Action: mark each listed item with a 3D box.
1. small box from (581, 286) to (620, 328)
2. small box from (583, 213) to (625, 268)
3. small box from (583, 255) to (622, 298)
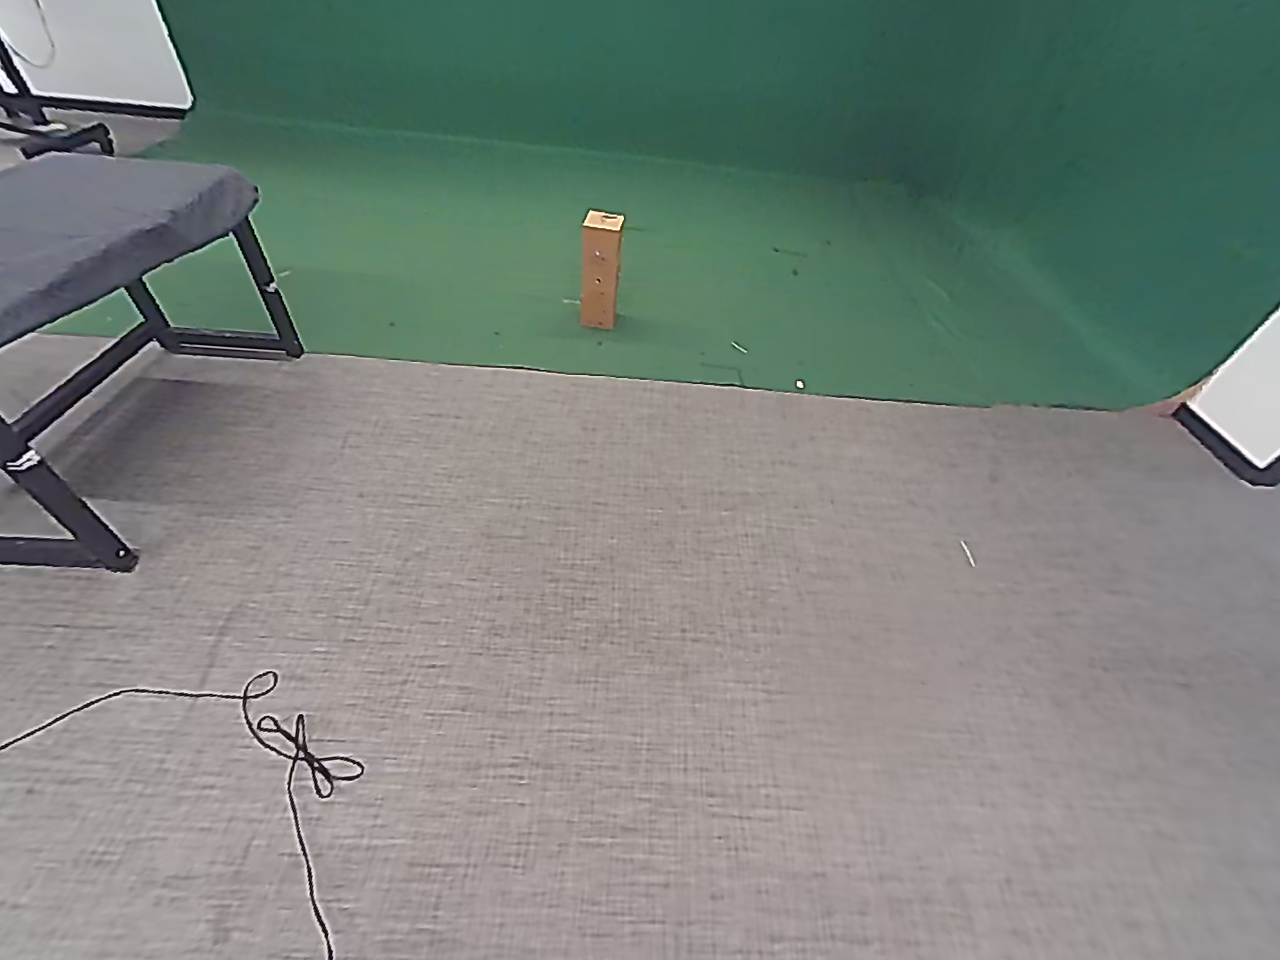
[{"bbox_3d":[-0.200,-0.891,2.725,0.168,0.176,0.179,10,45,0],"label":"small box"},{"bbox_3d":[-0.168,-1.112,2.510,0.168,0.176,0.179,9,47,1],"label":"small box"},{"bbox_3d":[-0.182,-0.997,2.629,0.168,0.176,0.179,9,47,0],"label":"small box"}]
